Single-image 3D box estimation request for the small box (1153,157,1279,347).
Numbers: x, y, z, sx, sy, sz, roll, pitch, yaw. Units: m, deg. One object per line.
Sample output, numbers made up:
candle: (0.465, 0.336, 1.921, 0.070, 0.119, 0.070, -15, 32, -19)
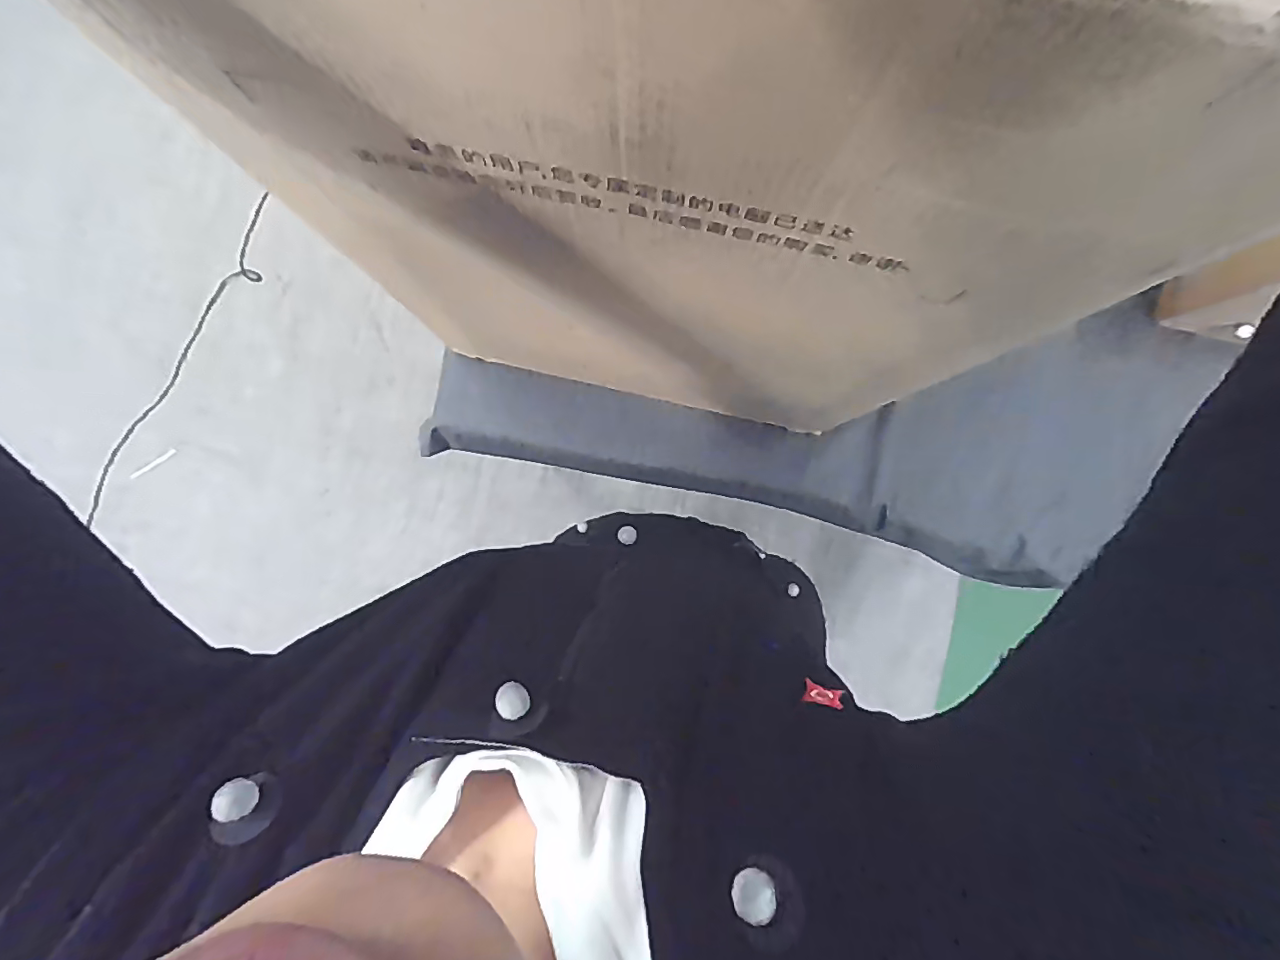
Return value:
small box: (0.822, -0.293, 0.692, 0.168, 0.176, 0.179, 14, 88, 1)
